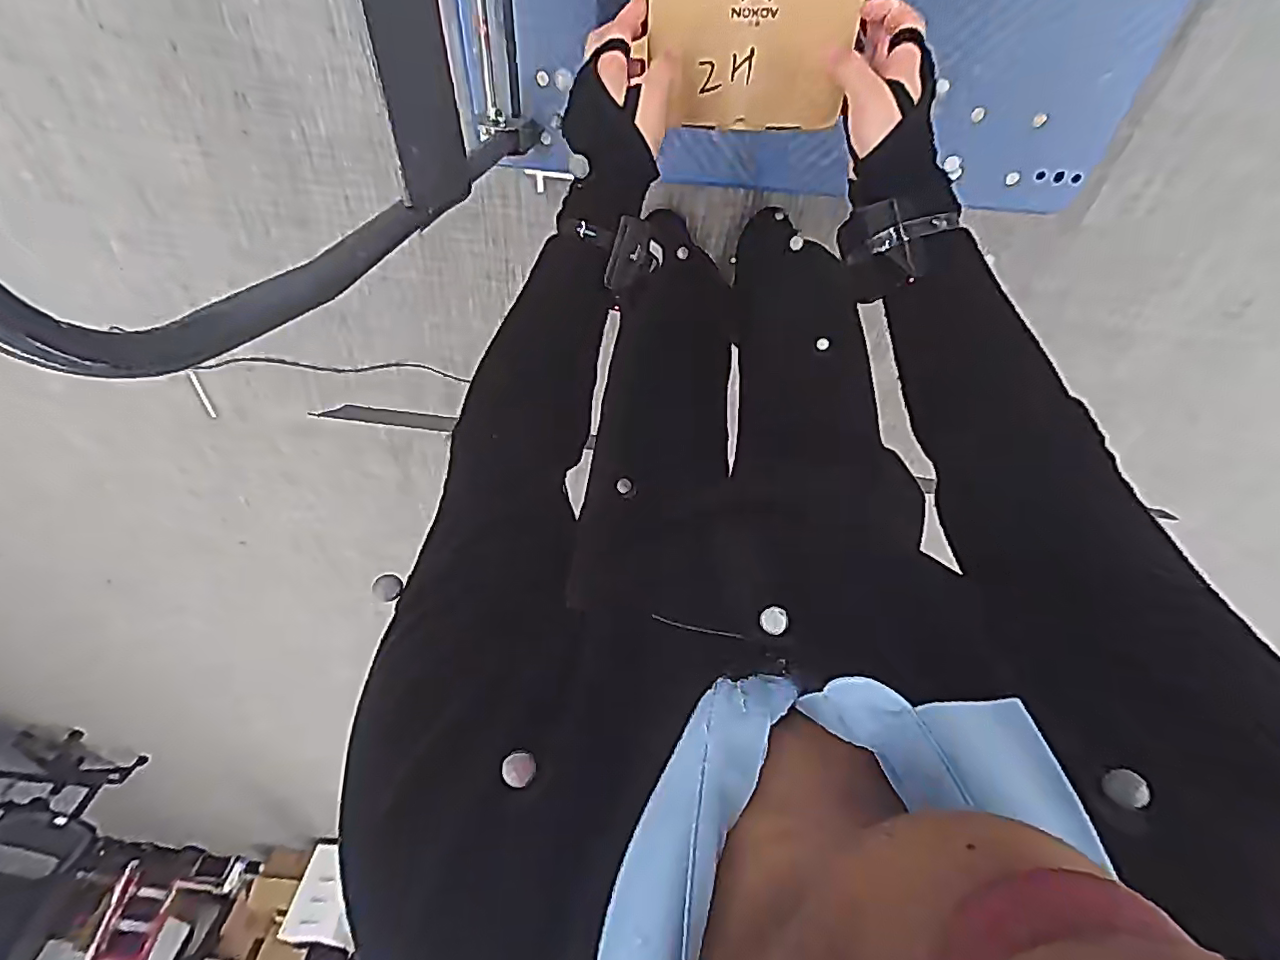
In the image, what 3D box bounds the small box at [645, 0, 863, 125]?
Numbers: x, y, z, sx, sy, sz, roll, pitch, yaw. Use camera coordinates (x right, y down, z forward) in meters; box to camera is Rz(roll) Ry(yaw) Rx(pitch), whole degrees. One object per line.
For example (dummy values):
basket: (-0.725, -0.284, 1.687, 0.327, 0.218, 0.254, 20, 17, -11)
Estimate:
small box: (0.092, -0.424, 0.464, 0.168, 0.176, 0.179, 3, 133, 3)
